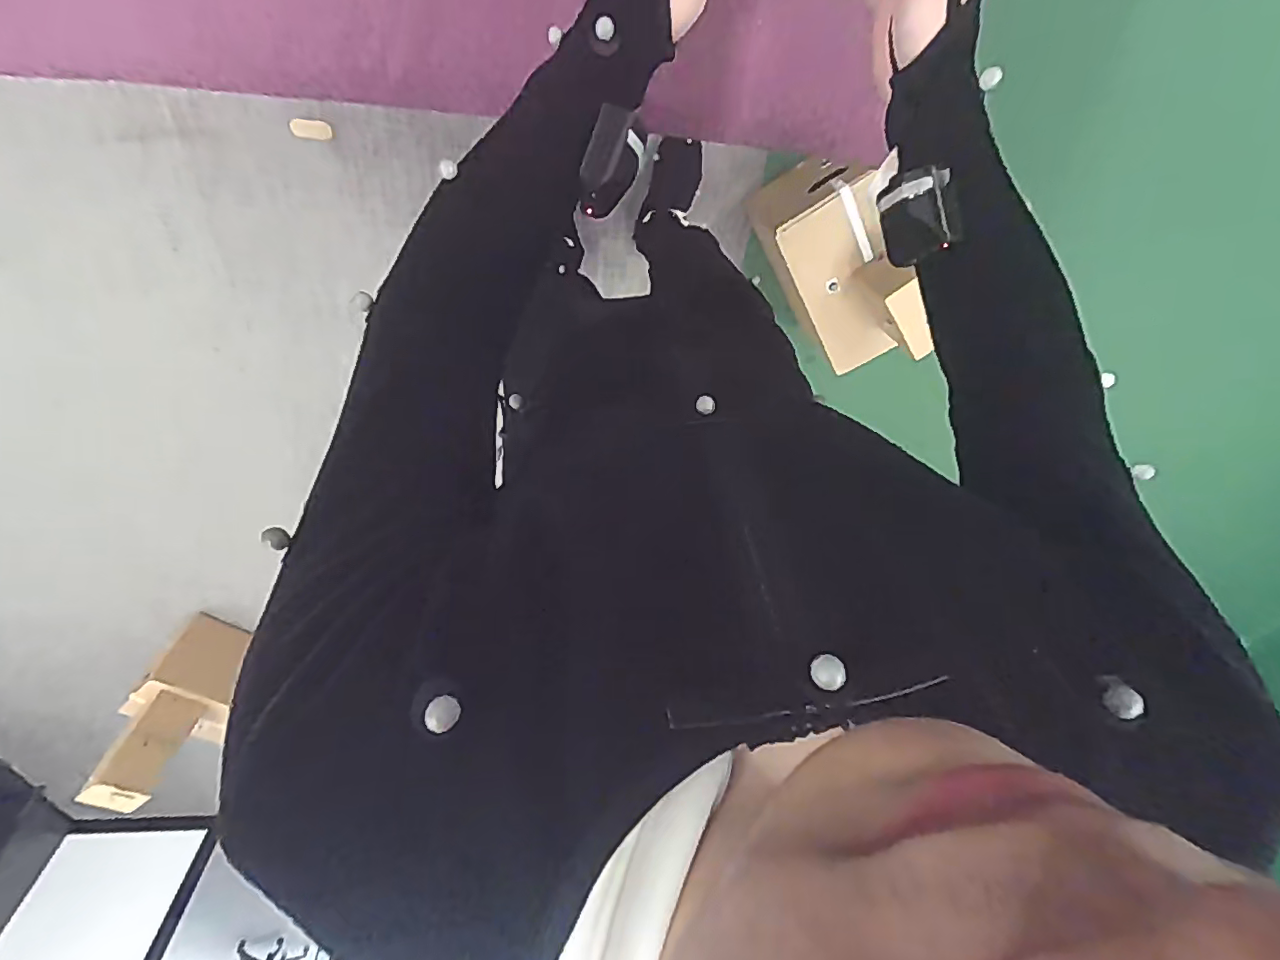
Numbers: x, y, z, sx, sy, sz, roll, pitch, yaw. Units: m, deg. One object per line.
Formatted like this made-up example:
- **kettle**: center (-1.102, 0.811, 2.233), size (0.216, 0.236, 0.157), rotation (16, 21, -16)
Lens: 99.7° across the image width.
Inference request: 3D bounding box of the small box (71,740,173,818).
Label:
- **small box**: center (-1.746, 1.013, 1.836), size (0.179, 0.176, 0.168), rotation (-34, 123, 21)

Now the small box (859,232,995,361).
- **small box**: center (0.587, -0.388, 1.124), size (0.168, 0.176, 0.179), rotation (-35, 123, 20)

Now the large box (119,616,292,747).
- **large box**: center (-1.751, 0.824, 2.208), size (0.320, 0.320, 0.408), rotation (-35, 123, 22)
